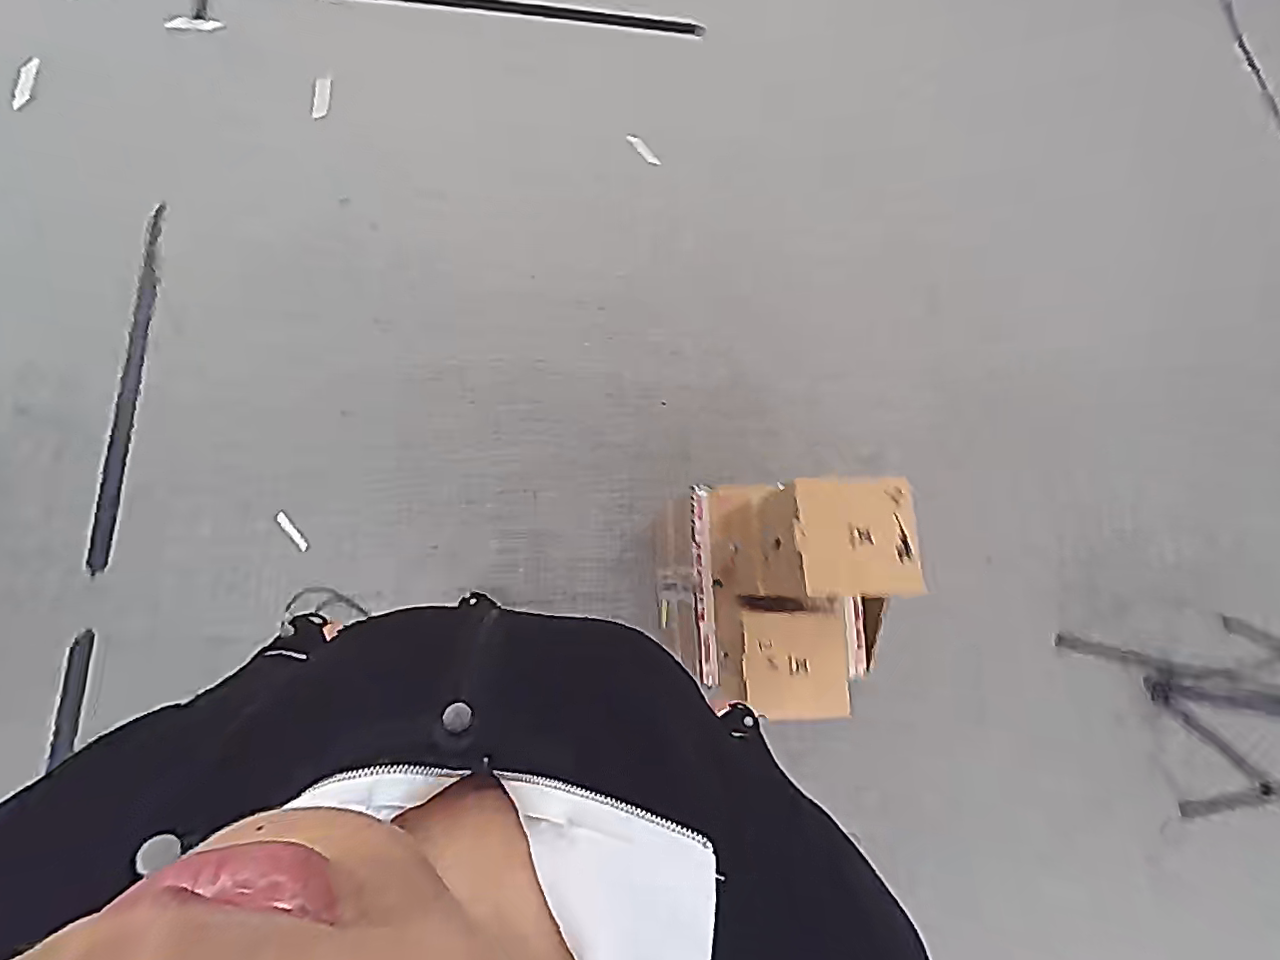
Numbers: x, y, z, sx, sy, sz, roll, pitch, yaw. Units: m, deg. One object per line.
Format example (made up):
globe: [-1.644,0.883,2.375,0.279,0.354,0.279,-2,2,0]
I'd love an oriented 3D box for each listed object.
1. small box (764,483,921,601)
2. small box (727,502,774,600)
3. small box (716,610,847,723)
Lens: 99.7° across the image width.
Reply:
small box: [0.297,0.102,0.837,0.179,0.176,0.168,0,78,-4]
small box: [0.269,0.132,0.996,0.179,0.176,0.168,-2,78,-5]
small box: [0.241,0.320,0.956,0.179,0.176,0.168,1,80,-6]
